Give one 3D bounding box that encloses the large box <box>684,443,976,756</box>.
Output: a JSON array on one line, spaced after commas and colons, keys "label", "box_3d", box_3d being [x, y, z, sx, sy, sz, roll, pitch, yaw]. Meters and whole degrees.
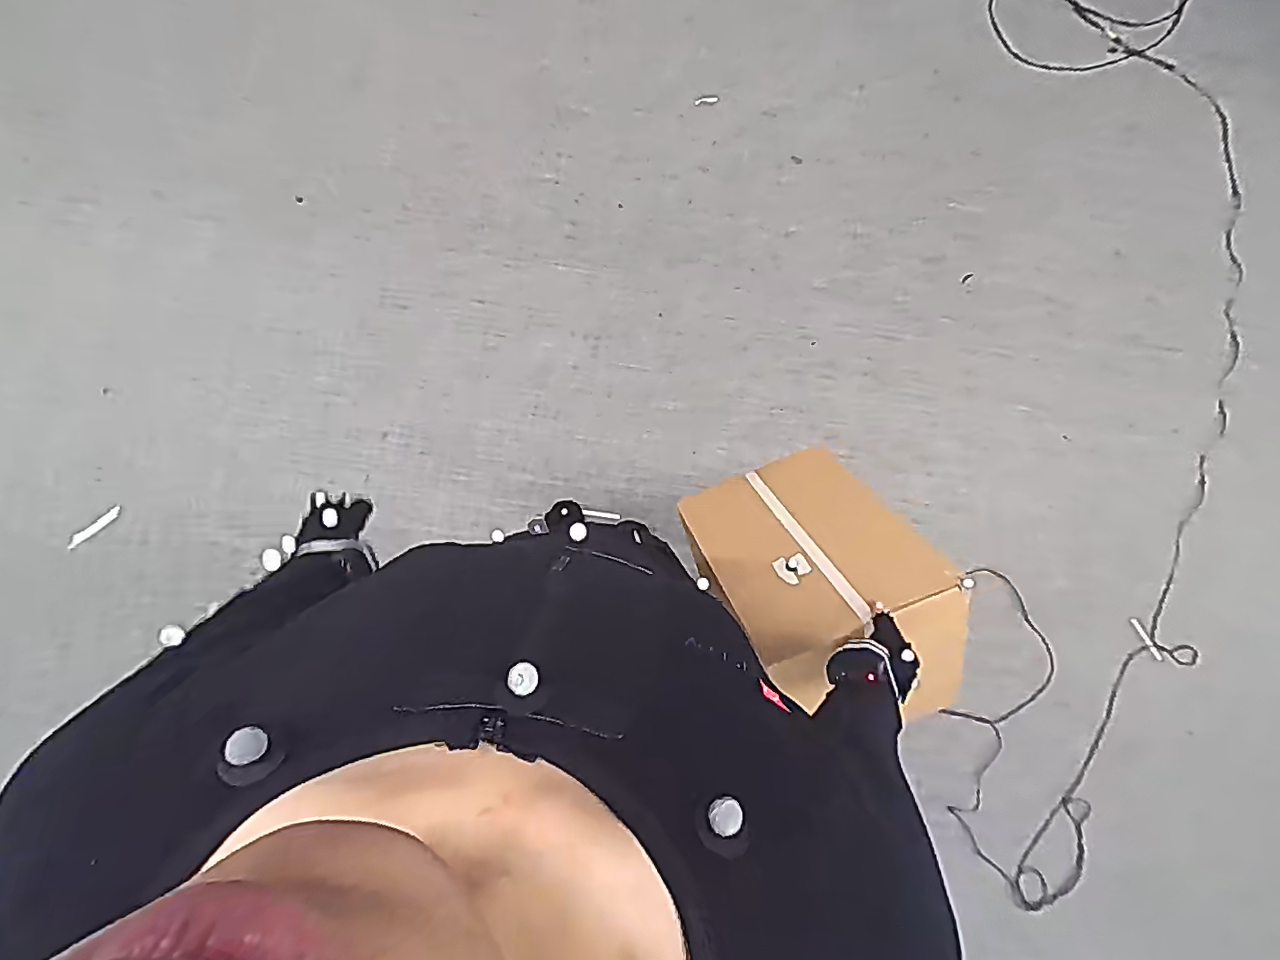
[{"label": "large box", "box_3d": [0.315, 0.197, 0.989, 0.320, 0.408, 0.320, -22, 126, -2]}]
